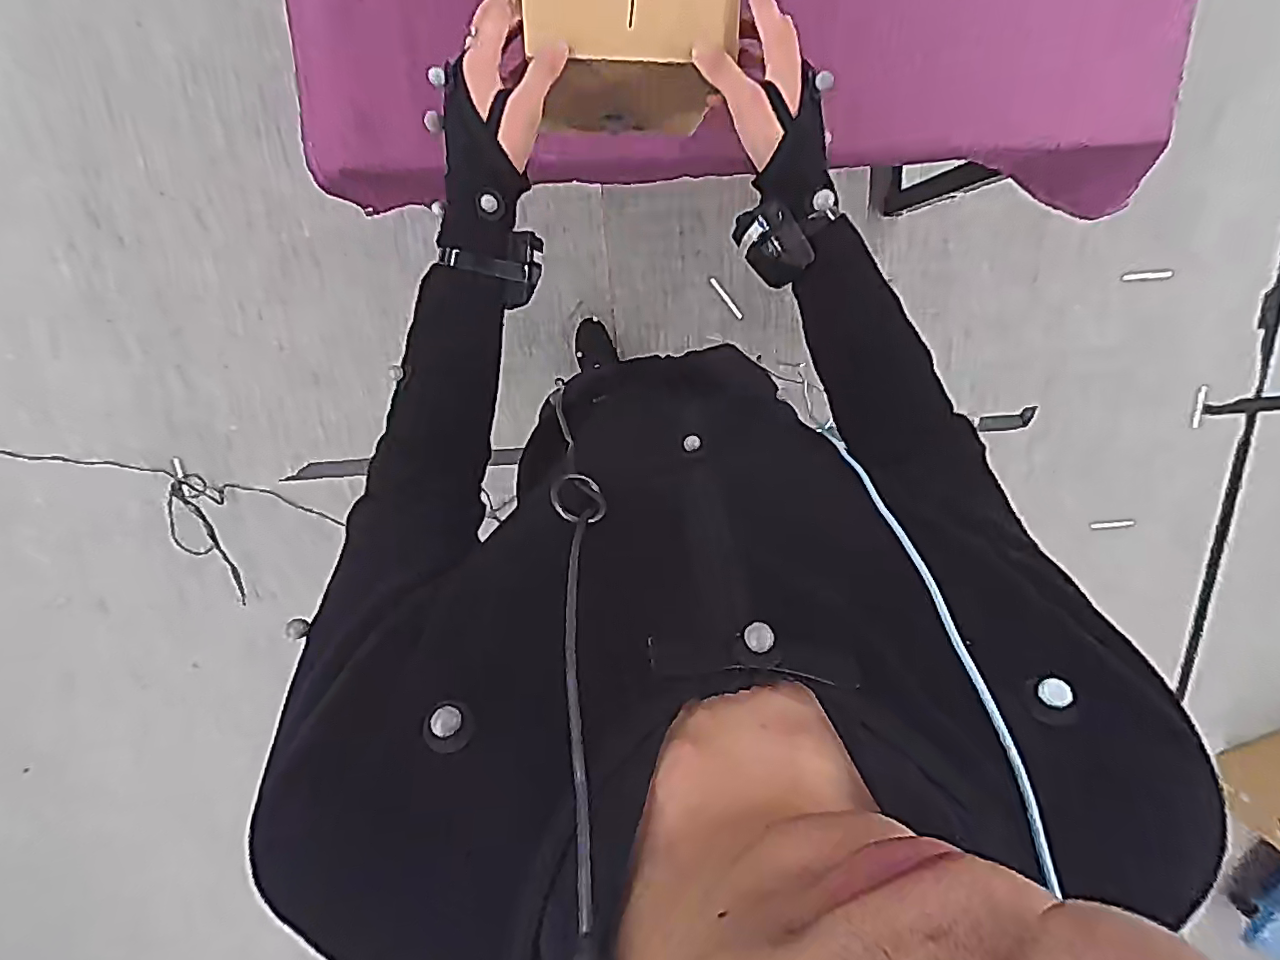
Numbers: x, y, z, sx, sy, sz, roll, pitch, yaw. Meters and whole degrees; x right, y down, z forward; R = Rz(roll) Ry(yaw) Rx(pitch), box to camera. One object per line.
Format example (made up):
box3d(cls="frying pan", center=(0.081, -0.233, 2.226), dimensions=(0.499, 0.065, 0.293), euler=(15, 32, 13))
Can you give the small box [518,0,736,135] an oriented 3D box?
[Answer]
box3d(cls="small box", center=(-0.019, -0.424, 0.462), dimensions=(0.168, 0.176, 0.179), euler=(-3, 107, -7))
